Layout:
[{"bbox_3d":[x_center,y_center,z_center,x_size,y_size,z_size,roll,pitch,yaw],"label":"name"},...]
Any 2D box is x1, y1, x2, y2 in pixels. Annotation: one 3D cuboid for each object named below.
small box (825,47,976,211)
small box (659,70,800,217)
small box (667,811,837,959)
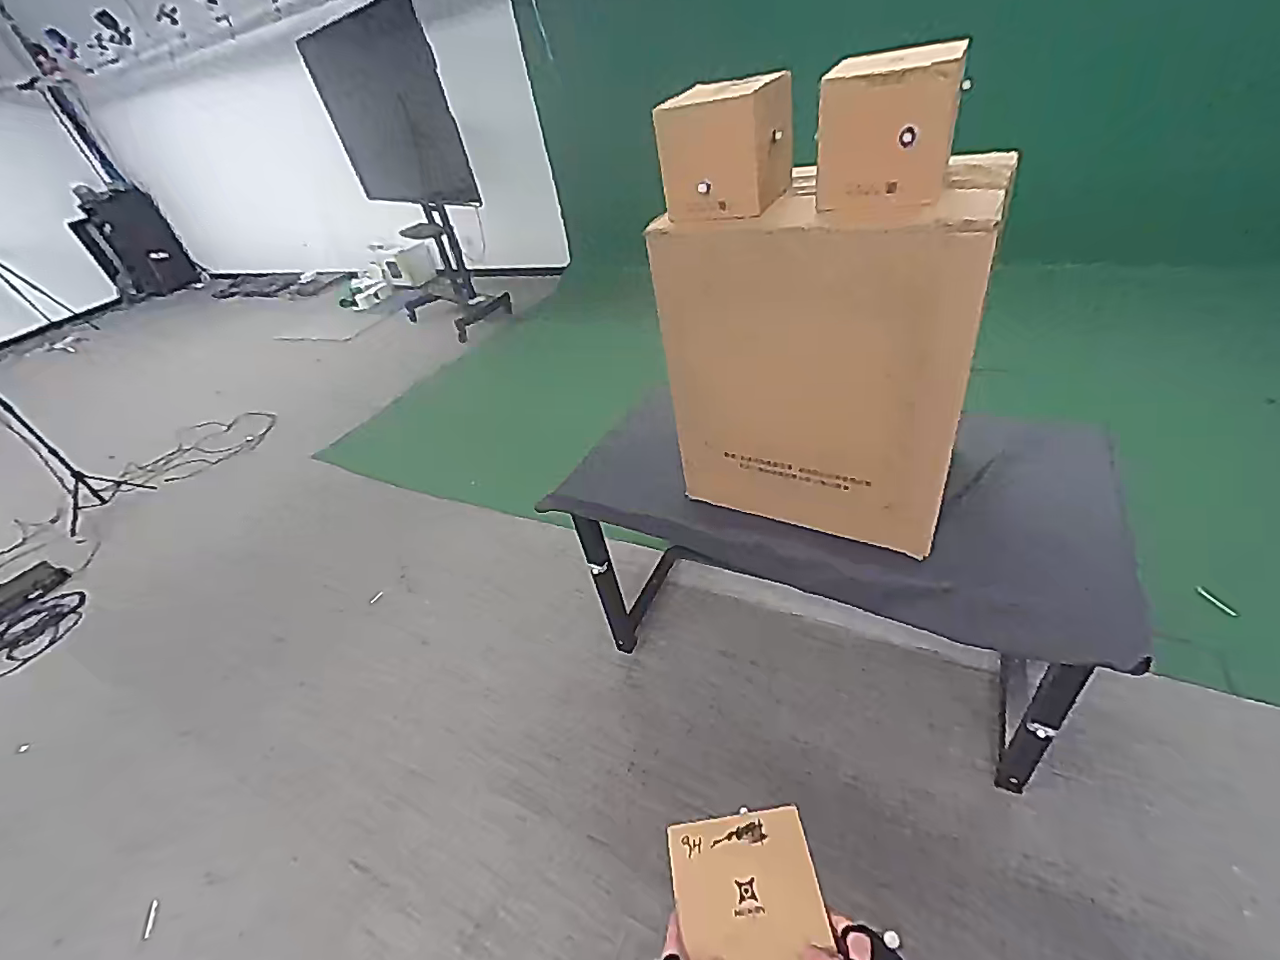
[{"bbox_3d":[0.373,-0.504,0.788,0.168,0.176,0.179,12,45,24],"label":"small box"},{"bbox_3d":[0.153,-0.548,0.890,0.168,0.176,0.179,14,47,31],"label":"small box"},{"bbox_3d":[0.139,0.549,0.671,0.168,0.176,0.179,-13,39,0],"label":"small box"}]
